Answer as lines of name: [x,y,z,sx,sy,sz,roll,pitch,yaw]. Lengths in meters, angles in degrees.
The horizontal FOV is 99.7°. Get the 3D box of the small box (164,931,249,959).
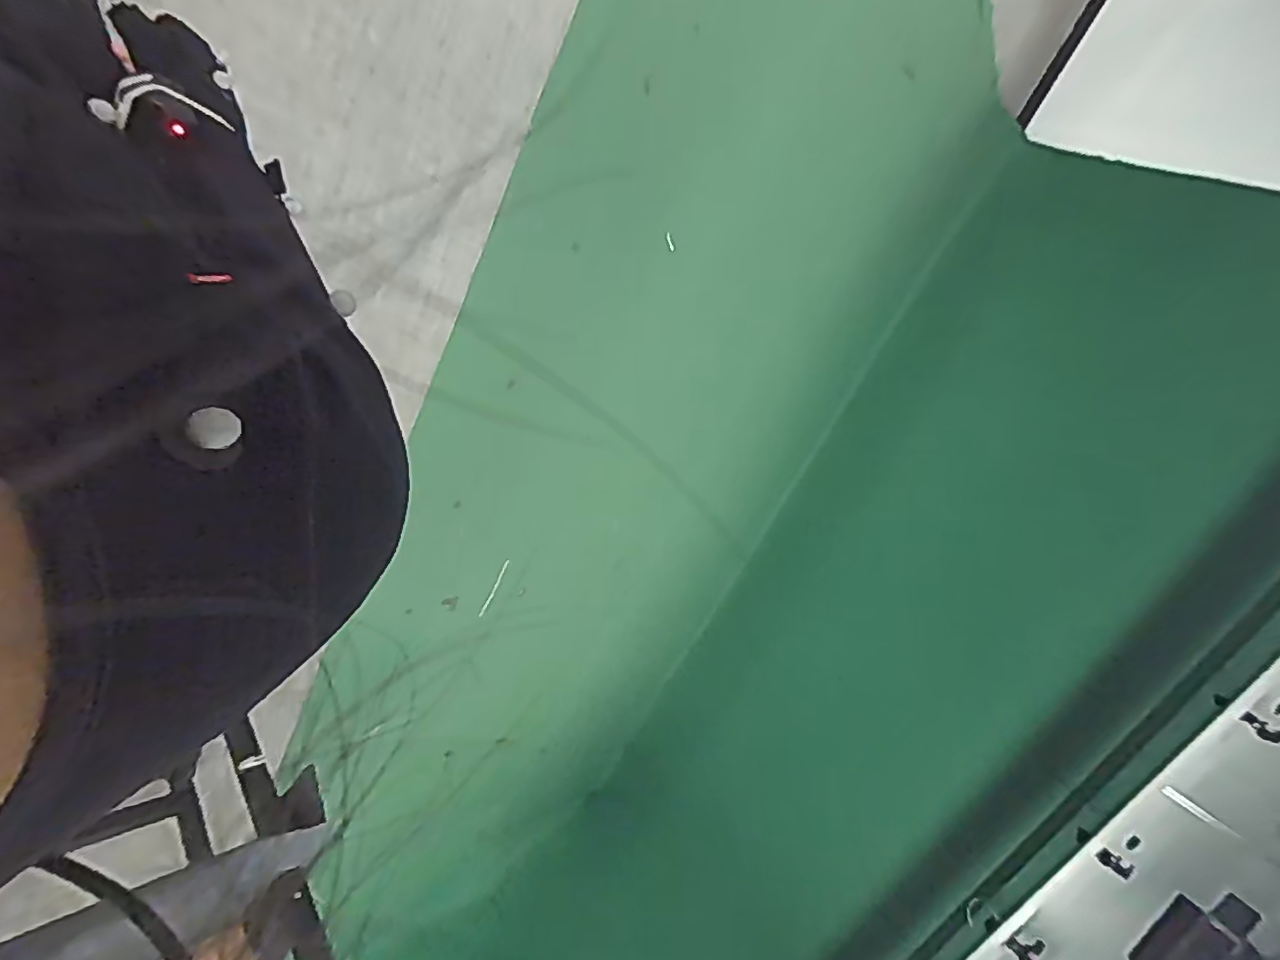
small box: [-0.945,1.112,1.142,0.168,0.176,0.179,10,115,-53]
